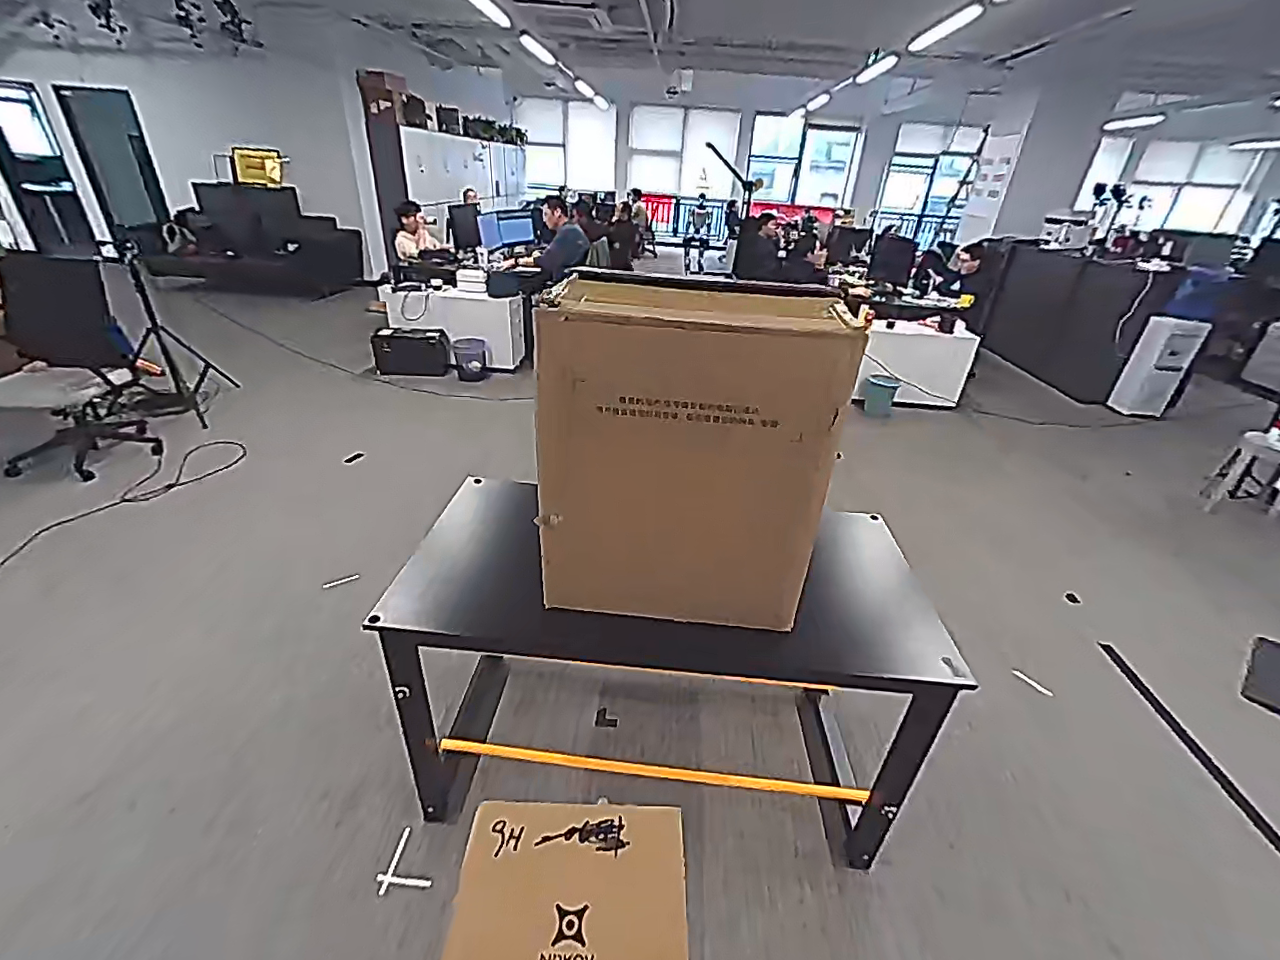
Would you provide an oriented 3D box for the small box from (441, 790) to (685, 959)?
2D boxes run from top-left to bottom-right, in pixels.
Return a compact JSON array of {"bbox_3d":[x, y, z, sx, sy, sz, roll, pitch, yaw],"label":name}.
[{"bbox_3d":[-0.052,0.371,0.419,0.168,0.176,0.179,2,37,-1],"label":"small box"}]
